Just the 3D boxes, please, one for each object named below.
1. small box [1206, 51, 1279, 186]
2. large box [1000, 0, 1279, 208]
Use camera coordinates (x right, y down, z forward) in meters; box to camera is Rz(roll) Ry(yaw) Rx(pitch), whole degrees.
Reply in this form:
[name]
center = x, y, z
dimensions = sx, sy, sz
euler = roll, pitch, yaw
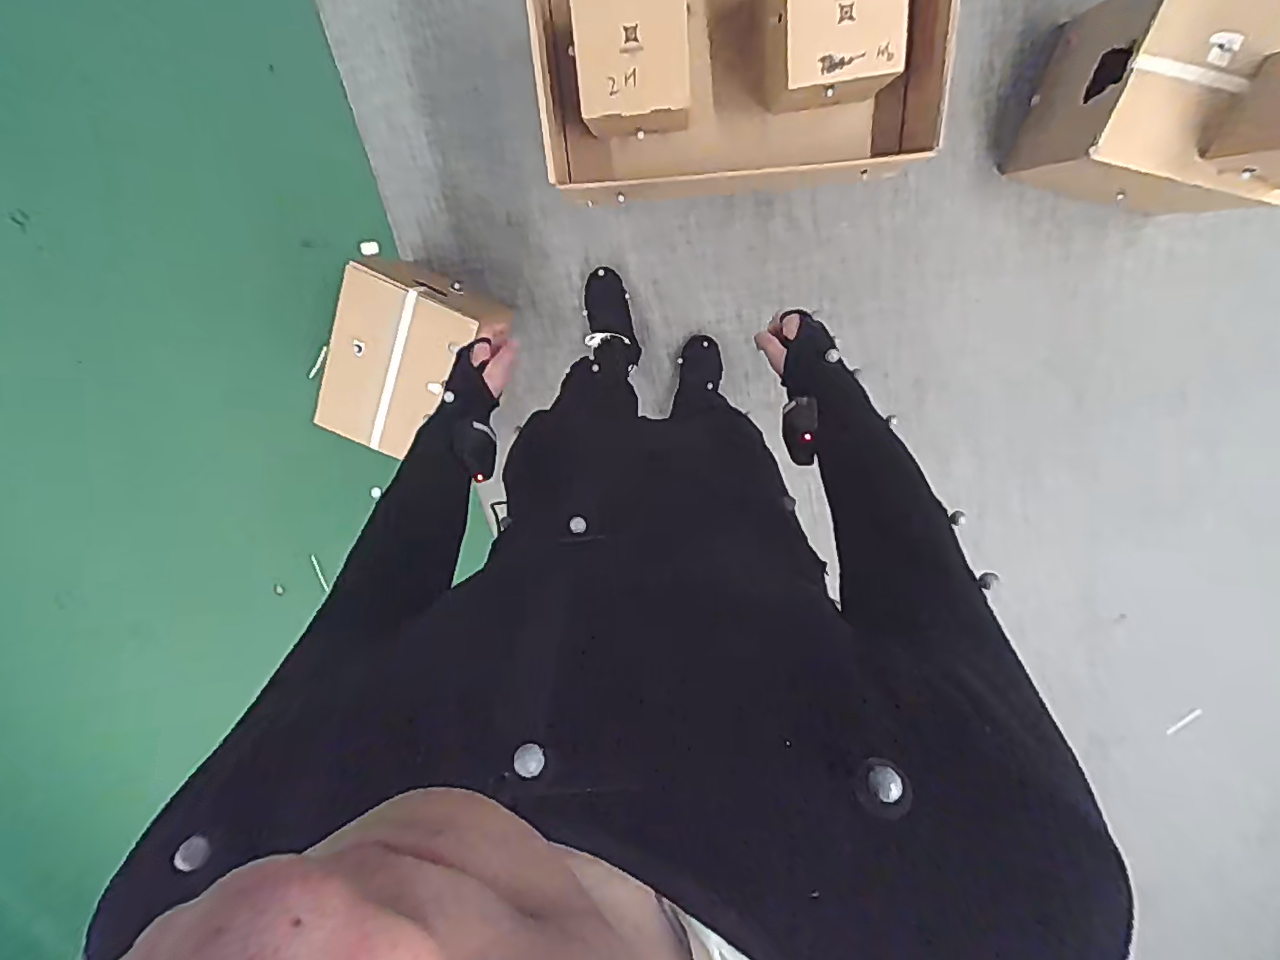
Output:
[small box]
center = 1.148, -0.622, 0.915
dimensions = 0.168, 0.176, 0.179
euler = 18, 115, -4
[large box]
center = 1.083, -0.774, 1.120
dimensions = 0.408, 0.320, 0.320
euler = 12, 113, -1
